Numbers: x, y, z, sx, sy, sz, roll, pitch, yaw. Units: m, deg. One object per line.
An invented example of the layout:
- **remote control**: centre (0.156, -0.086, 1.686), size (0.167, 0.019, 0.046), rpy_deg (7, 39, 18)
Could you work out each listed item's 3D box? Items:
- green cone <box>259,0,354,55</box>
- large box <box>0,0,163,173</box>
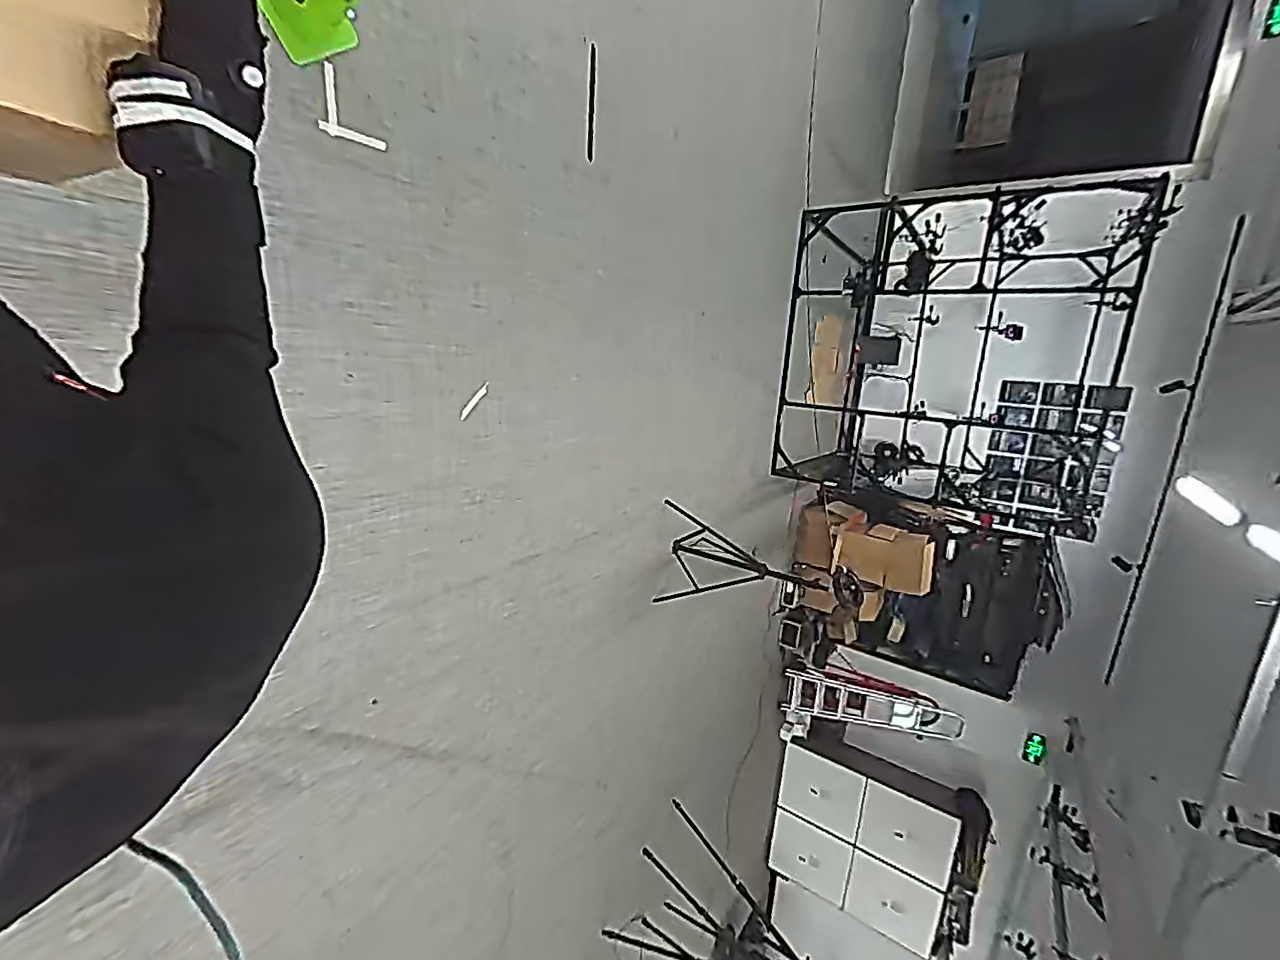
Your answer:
- **green cone**: centre (-0.637, -1.079, 1.146), size (0.202, 0.368, 0.200), rpy_deg (-57, 143, -32)
- **large box**: centre (-0.572, -0.408, 0.285), size (0.408, 0.320, 0.320), rpy_deg (-10, 111, -57)
